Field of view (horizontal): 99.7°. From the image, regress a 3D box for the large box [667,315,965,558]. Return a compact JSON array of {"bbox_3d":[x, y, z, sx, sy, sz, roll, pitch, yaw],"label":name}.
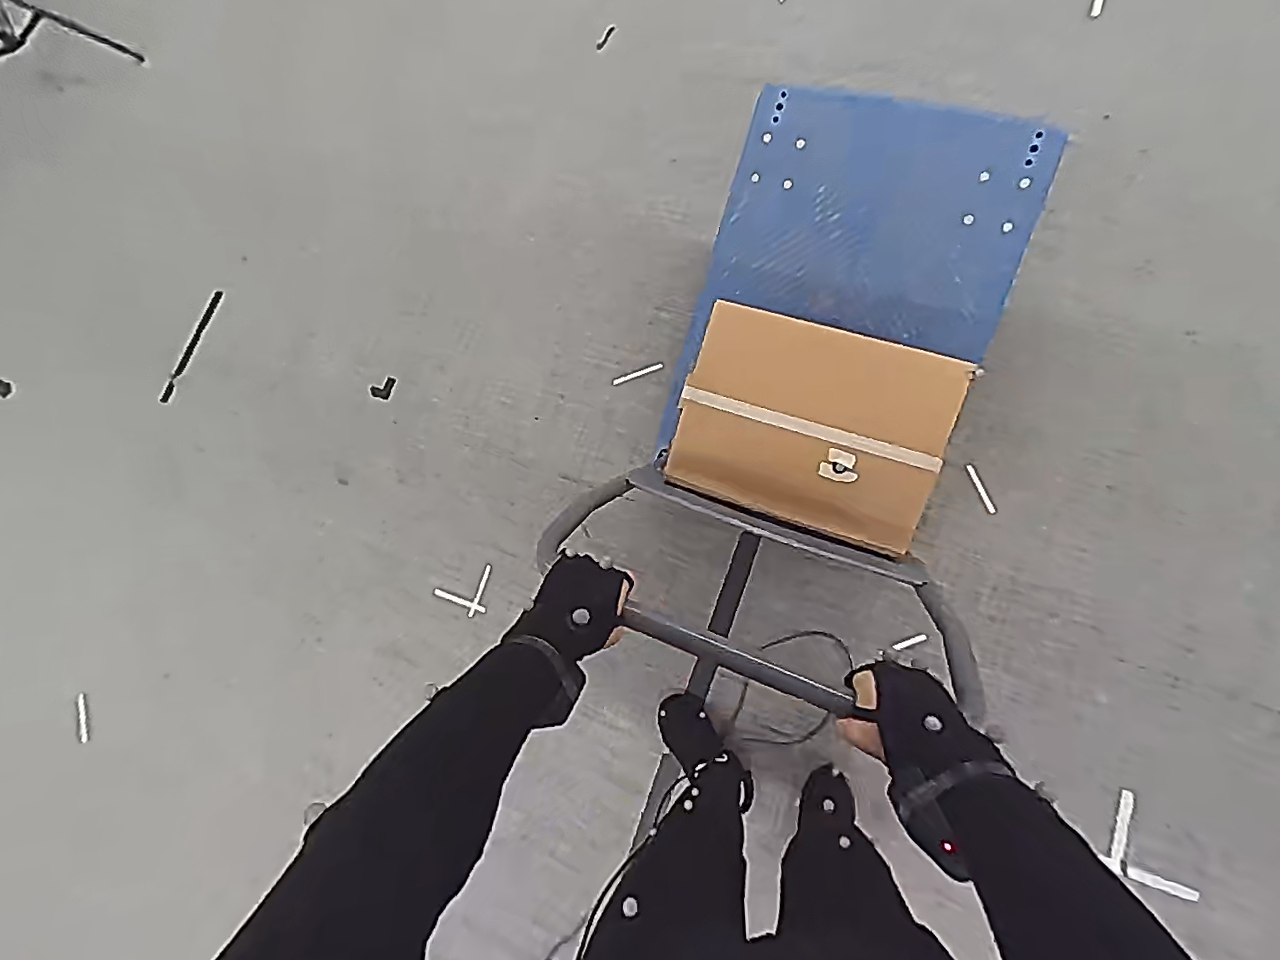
[{"bbox_3d":[0.304,-0.087,1.024,0.408,0.320,0.320,18,100,12],"label":"large box"}]
